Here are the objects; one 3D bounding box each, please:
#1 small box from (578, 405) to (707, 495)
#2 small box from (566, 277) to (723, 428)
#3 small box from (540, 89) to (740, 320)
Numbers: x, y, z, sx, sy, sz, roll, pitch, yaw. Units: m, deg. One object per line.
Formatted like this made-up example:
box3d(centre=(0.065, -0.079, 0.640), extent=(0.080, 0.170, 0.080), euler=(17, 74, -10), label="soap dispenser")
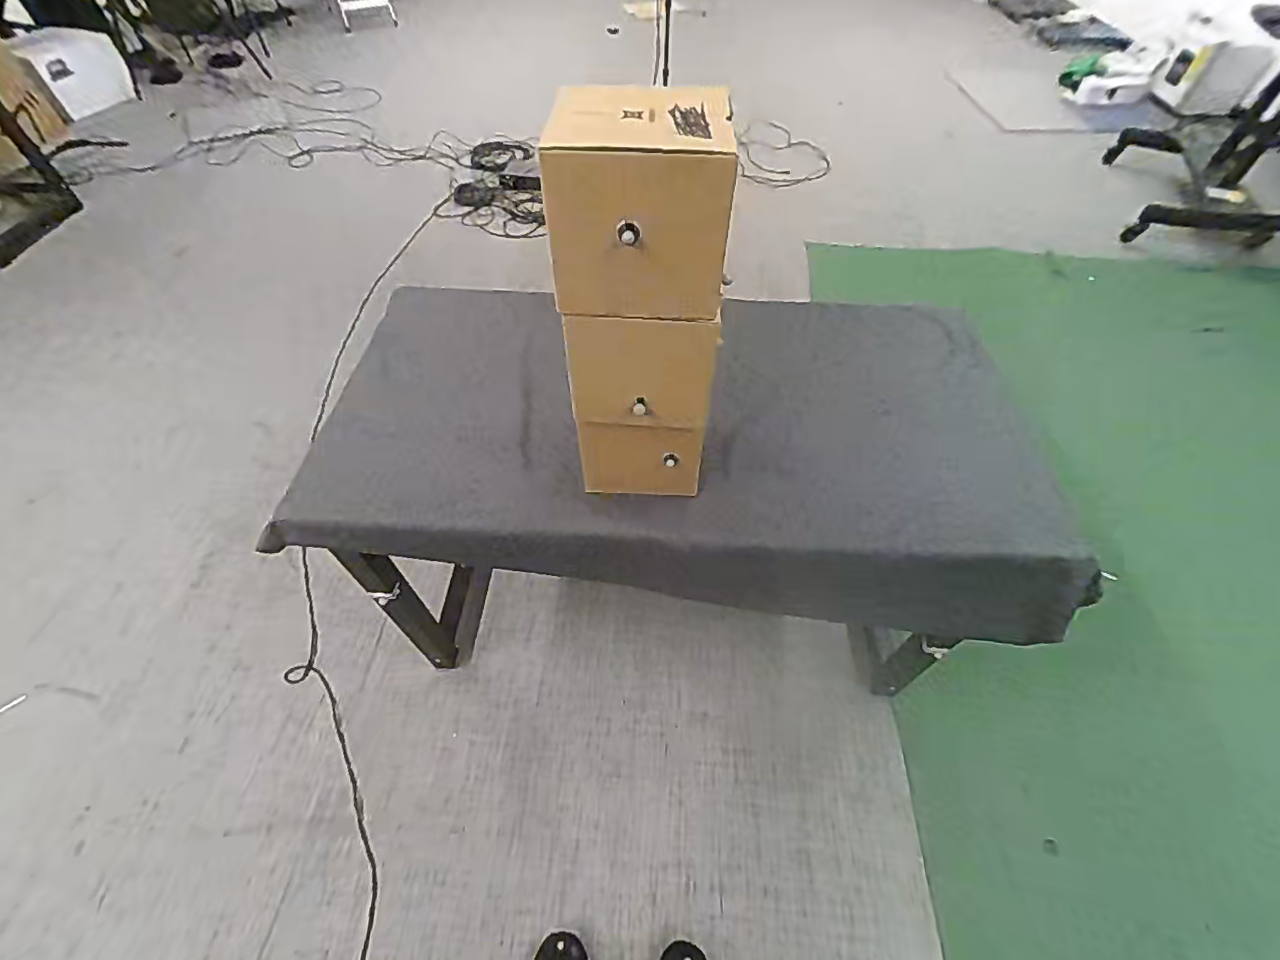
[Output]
box3d(centre=(0.006, -0.089, 0.839), extent=(0.179, 0.176, 0.168), euler=(1, 51, 2), label="small box")
box3d(centre=(0.008, -0.184, 0.706), extent=(0.179, 0.176, 0.168), euler=(4, 51, 1), label="small box")
box3d(centre=(0.003, -0.289, 0.578), extent=(0.179, 0.176, 0.168), euler=(2, 51, 2), label="small box")
